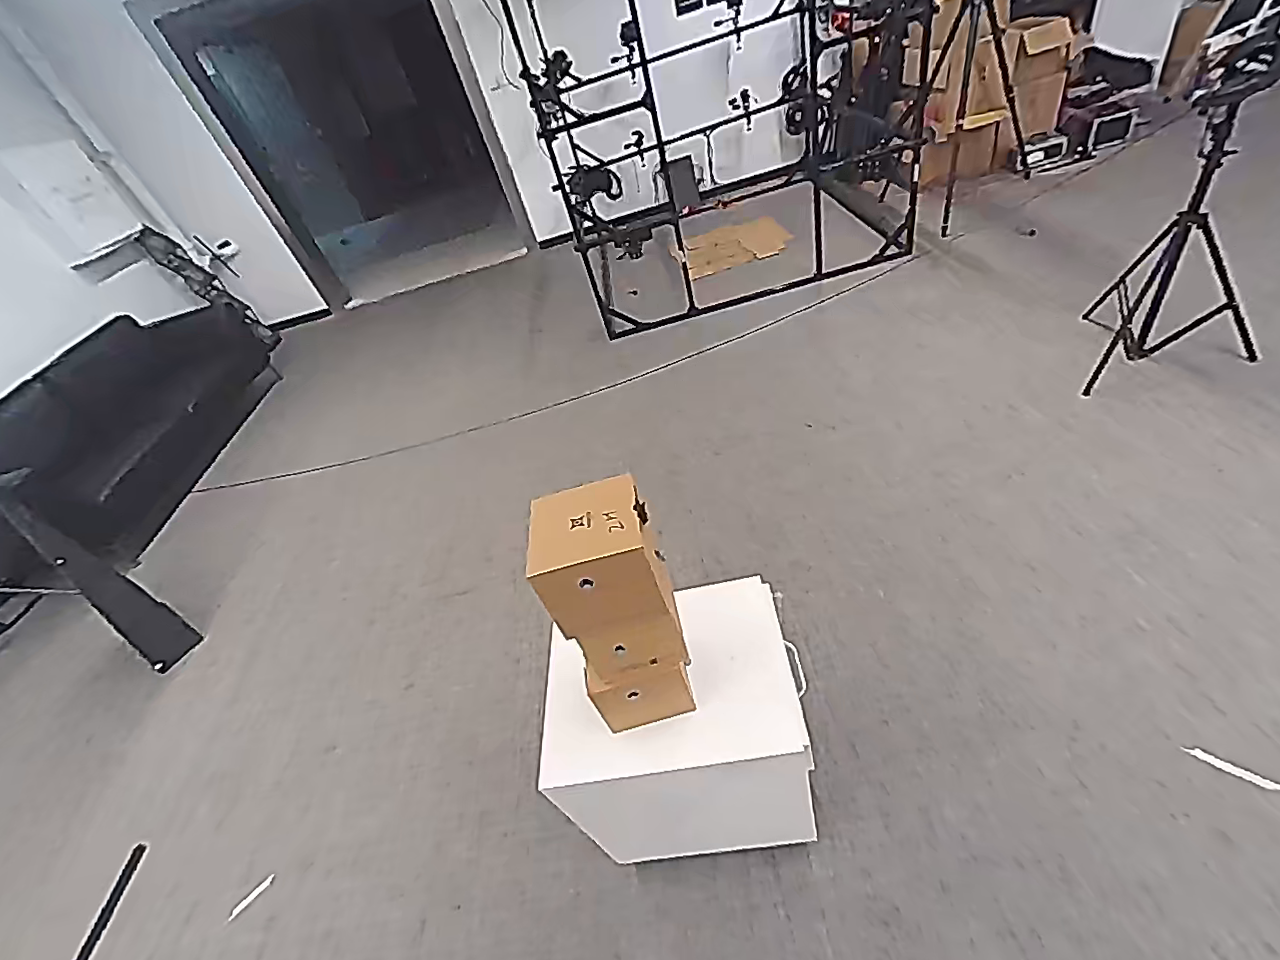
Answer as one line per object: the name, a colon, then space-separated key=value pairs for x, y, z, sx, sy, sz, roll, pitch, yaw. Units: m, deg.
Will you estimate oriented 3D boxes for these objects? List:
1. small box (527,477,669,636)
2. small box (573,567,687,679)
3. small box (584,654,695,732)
small box: x=-0.063 y=0.127 z=0.867 sx=0.179 sy=0.176 sz=0.168 roll=-14 pitch=40 yaw=5
small box: x=-0.021 y=0.238 z=0.982 sx=0.168 sy=0.176 sz=0.179 roll=-16 pitch=39 yaw=3
small box: x=-0.004 y=0.373 z=1.076 sx=0.179 sy=0.176 sz=0.168 roll=-16 pitch=40 yaw=2
